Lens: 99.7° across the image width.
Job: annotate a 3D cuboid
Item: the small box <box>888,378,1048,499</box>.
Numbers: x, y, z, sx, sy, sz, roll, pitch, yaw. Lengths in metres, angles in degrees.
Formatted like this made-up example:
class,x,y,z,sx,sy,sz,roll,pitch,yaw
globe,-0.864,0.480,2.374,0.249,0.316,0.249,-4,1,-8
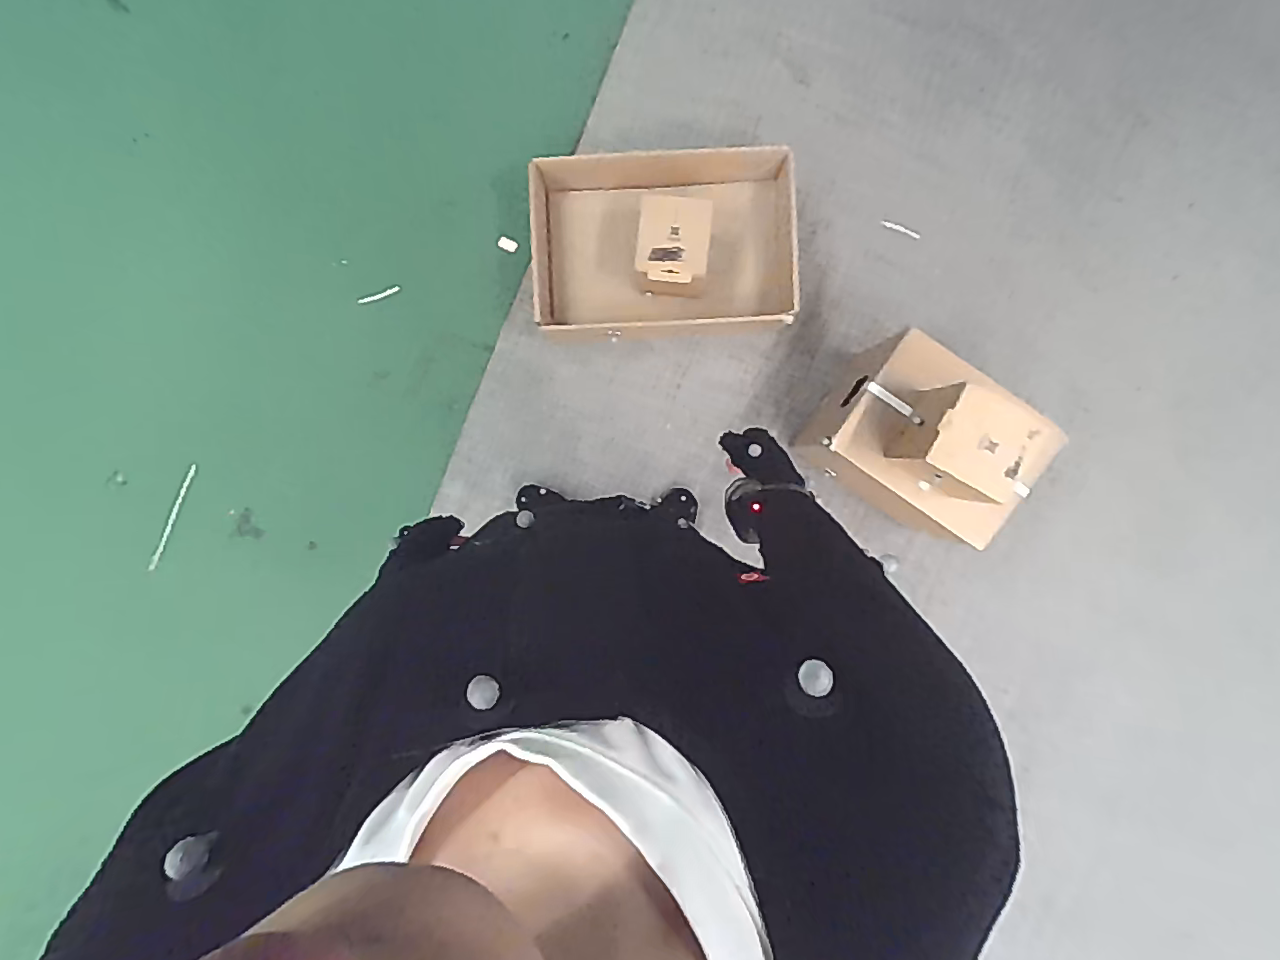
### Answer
class,x,y,z,sx,sy,sz,roll,pitch,yaw
small box,0.626,-0.076,1.060,0.179,0.176,0.168,29,93,0

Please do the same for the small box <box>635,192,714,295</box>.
class,x,y,z,sx,sy,sz,roll,pitch,yaw
small box,0.082,-0.565,1.312,0.168,0.176,0.179,6,91,2
